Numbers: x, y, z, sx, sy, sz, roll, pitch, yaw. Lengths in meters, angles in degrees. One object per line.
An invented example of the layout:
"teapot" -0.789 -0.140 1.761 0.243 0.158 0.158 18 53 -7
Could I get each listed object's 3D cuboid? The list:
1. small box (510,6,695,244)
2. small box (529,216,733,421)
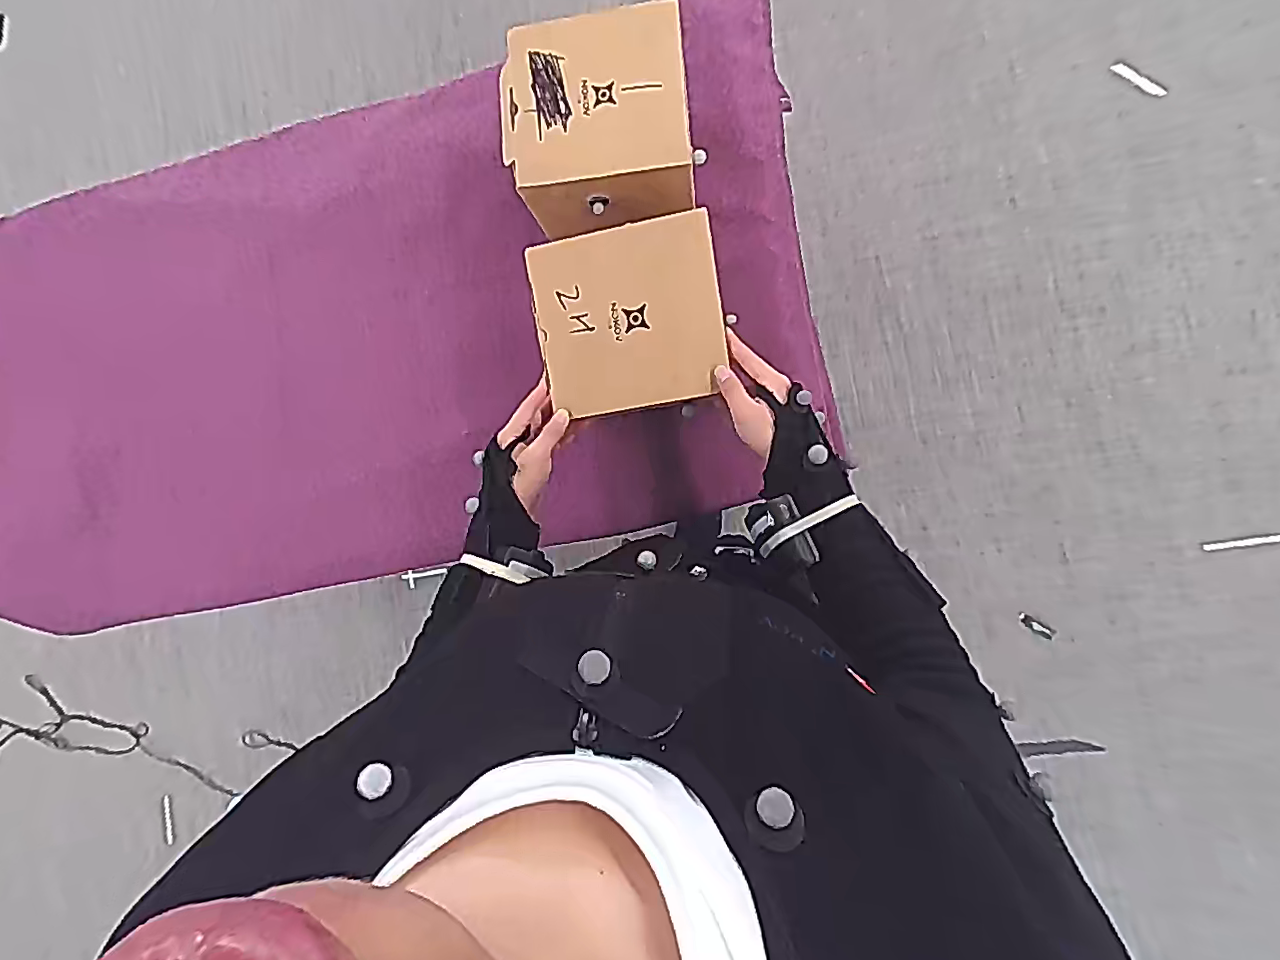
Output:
"small box" -0.032 -0.372 0.613 0.179 0.176 0.168 -4 89 7
"small box" 0.001 -0.159 0.585 0.179 0.176 0.168 -8 96 10
